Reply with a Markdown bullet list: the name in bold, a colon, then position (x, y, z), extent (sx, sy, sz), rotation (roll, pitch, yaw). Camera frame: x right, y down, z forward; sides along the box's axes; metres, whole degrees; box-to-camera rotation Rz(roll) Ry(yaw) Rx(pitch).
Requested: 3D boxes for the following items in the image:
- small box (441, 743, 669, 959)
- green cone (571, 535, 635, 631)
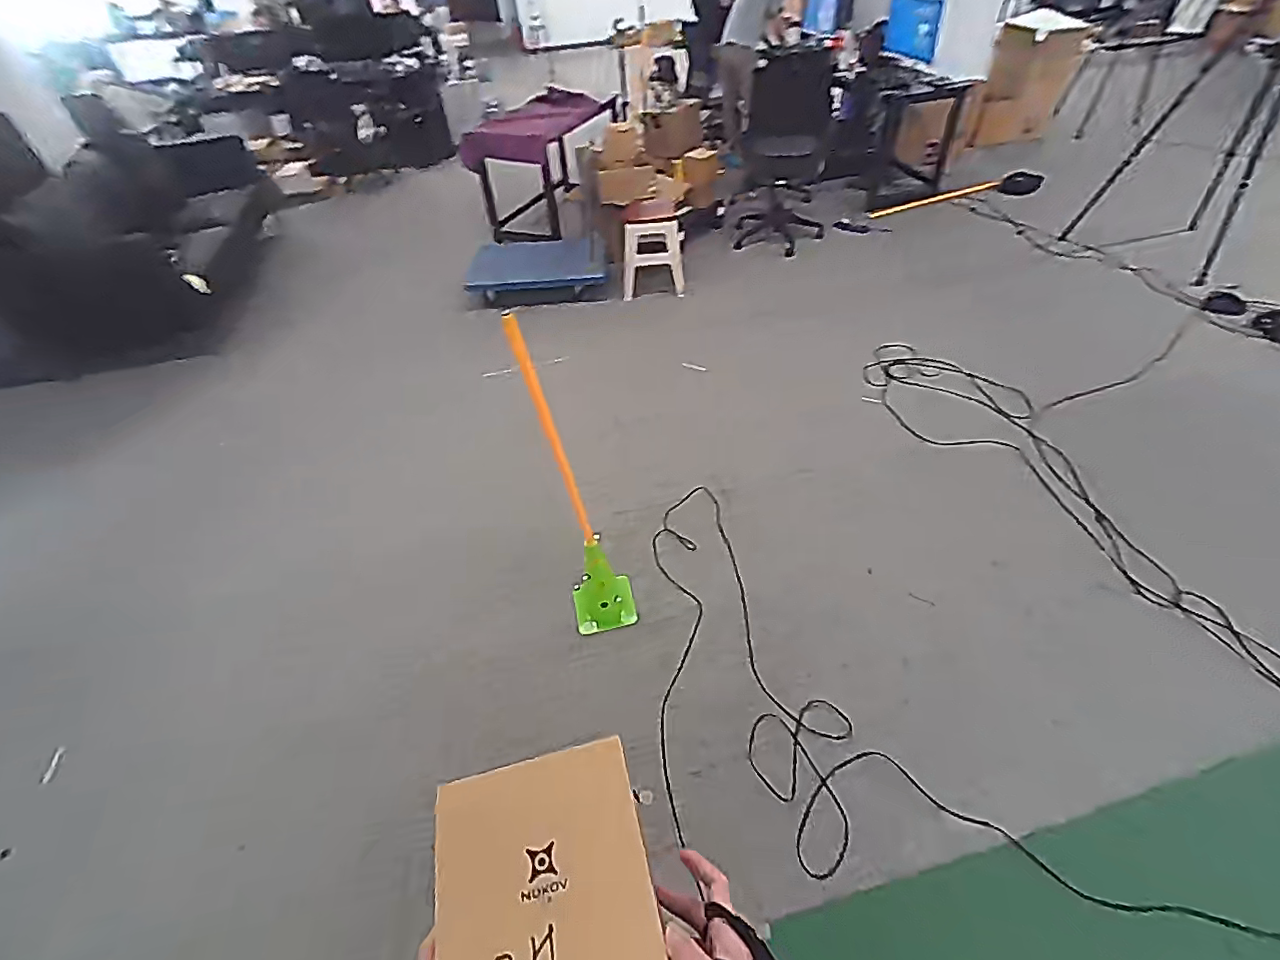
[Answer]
- **small box**: position (-0.070, 0.371, 0.487), extent (0.168, 0.176, 0.179), rotation (-12, 47, -6)
- **green cone**: position (-0.138, 0.307, 1.754), extent (0.202, 0.368, 0.200), rotation (-11, 47, -7)
